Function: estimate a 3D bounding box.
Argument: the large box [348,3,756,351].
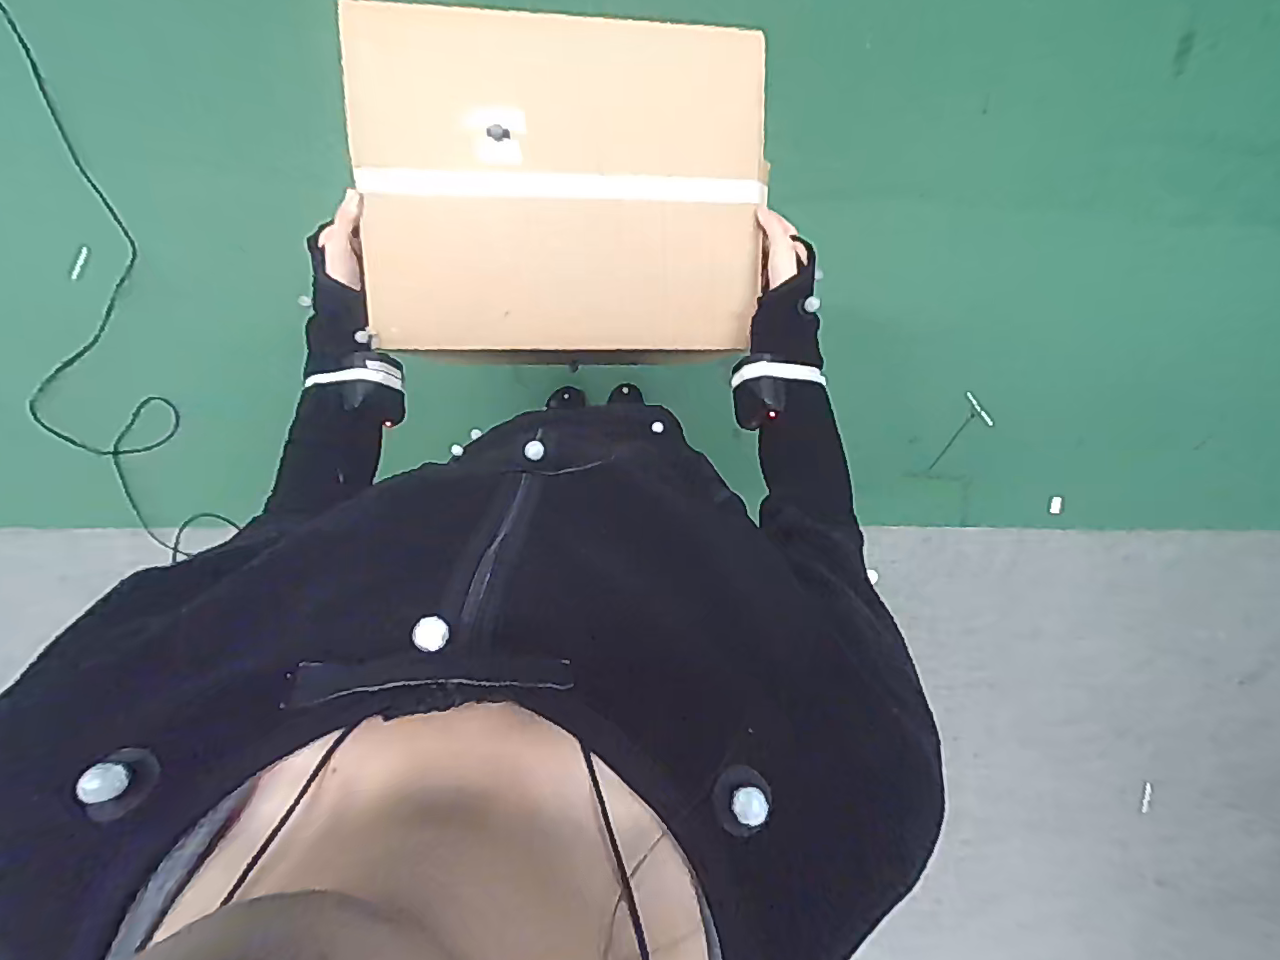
[{"bbox_3d":[-0.092,-0.330,0.699,0.408,0.320,0.320,-1,100,-7],"label":"large box"}]
